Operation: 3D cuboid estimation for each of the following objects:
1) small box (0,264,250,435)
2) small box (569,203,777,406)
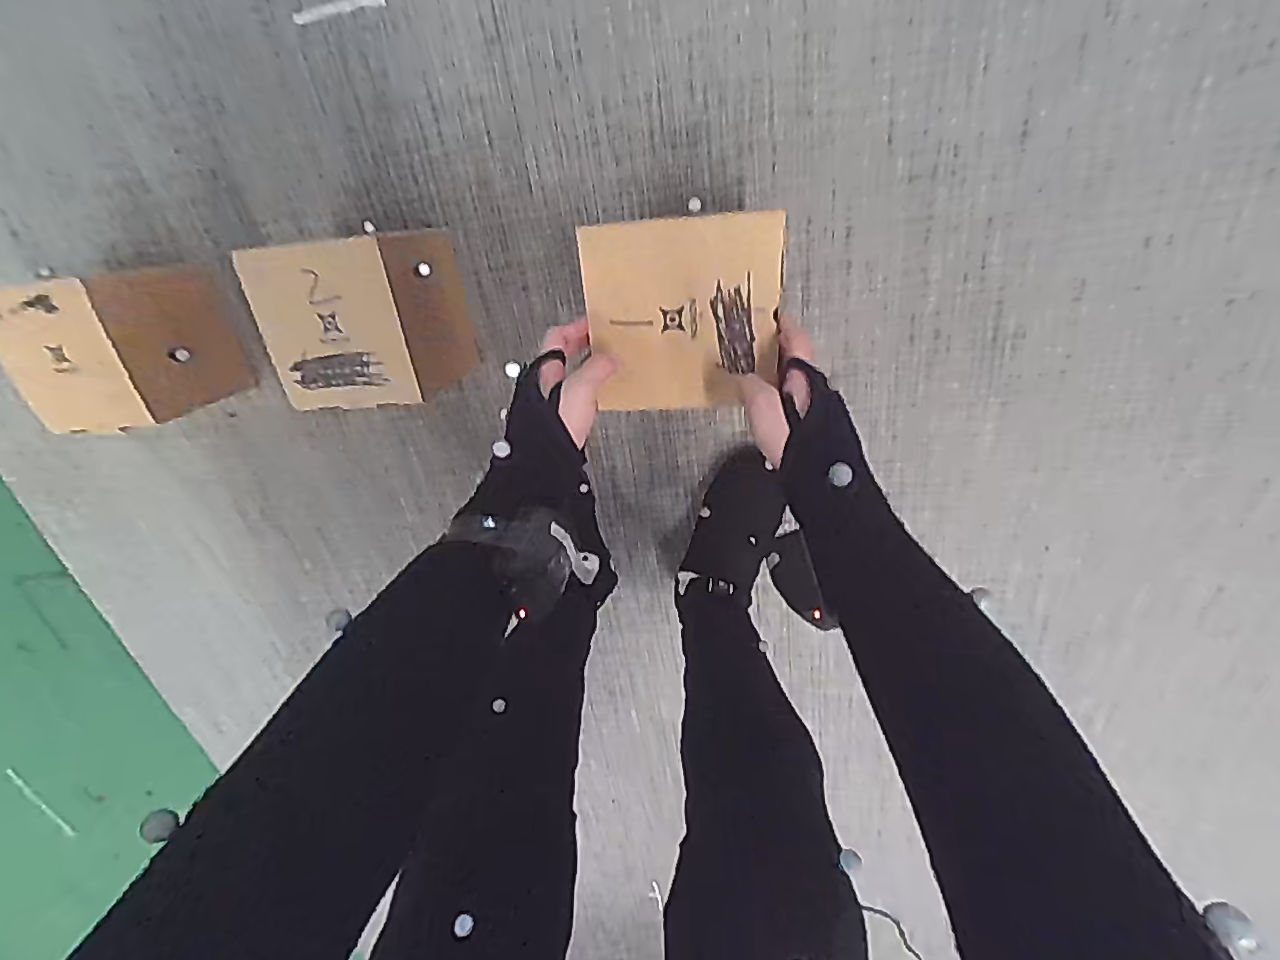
[{"bbox_3d":[-0.666,-0.173,0.706,0.168,0.176,0.179,-3,116,9],"label":"small box"},{"bbox_3d":[0.041,-0.182,0.549,0.179,0.176,0.168,-1,116,10],"label":"small box"}]
